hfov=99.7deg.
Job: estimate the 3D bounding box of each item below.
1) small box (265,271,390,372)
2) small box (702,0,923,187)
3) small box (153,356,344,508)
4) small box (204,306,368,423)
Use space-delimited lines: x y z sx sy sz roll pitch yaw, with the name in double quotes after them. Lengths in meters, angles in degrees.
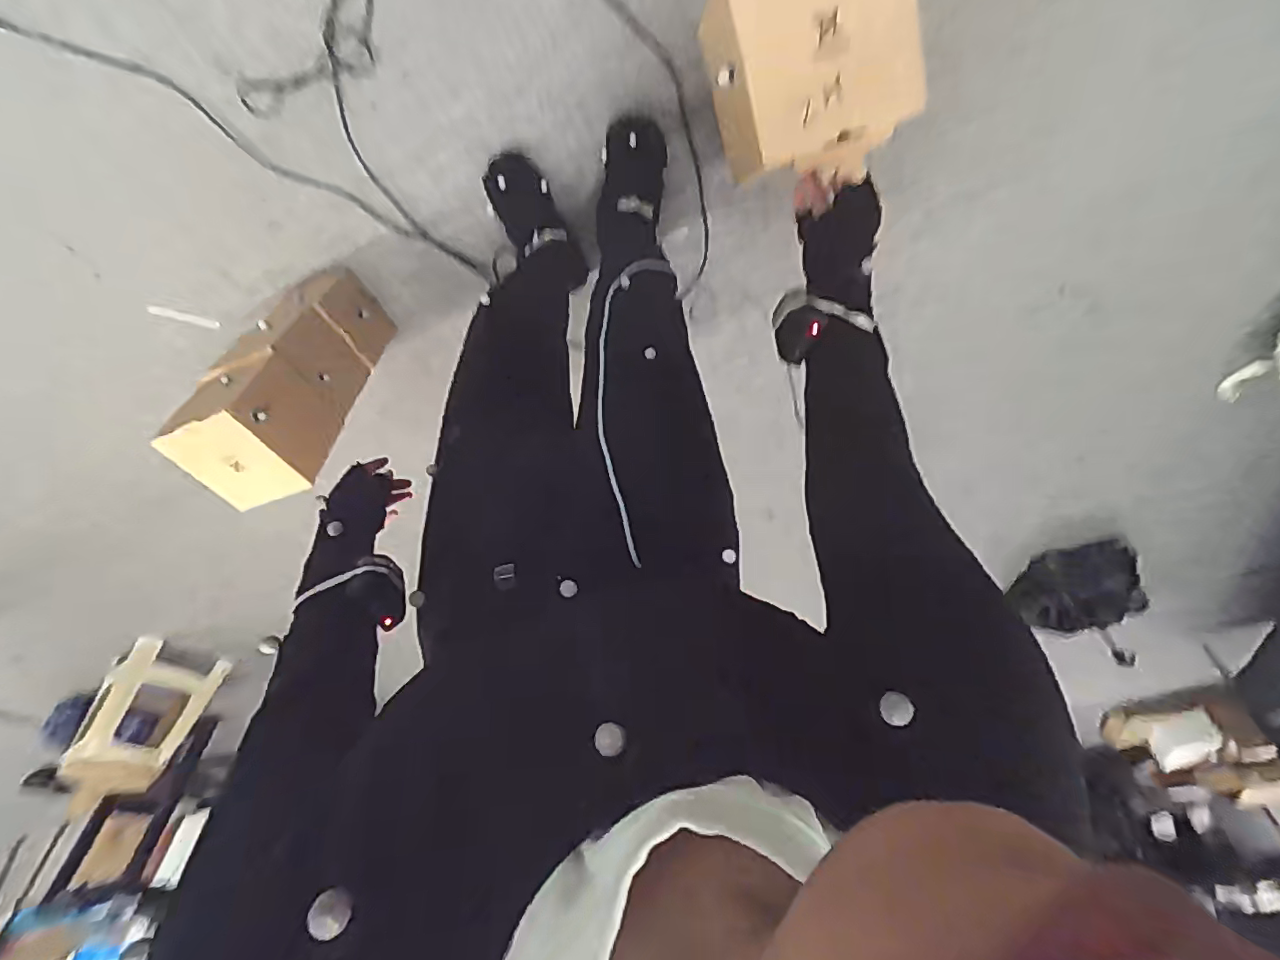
-0.668 -0.321 1.164 0.179 0.176 0.168 -17 133 14 "small box"
0.172 -0.440 0.579 0.168 0.176 0.179 -18 112 6 "small box"
-0.660 -0.083 0.940 0.168 0.176 0.179 -17 133 14 "small box"
-0.669 -0.203 1.049 0.168 0.176 0.179 -16 133 13 "small box"
